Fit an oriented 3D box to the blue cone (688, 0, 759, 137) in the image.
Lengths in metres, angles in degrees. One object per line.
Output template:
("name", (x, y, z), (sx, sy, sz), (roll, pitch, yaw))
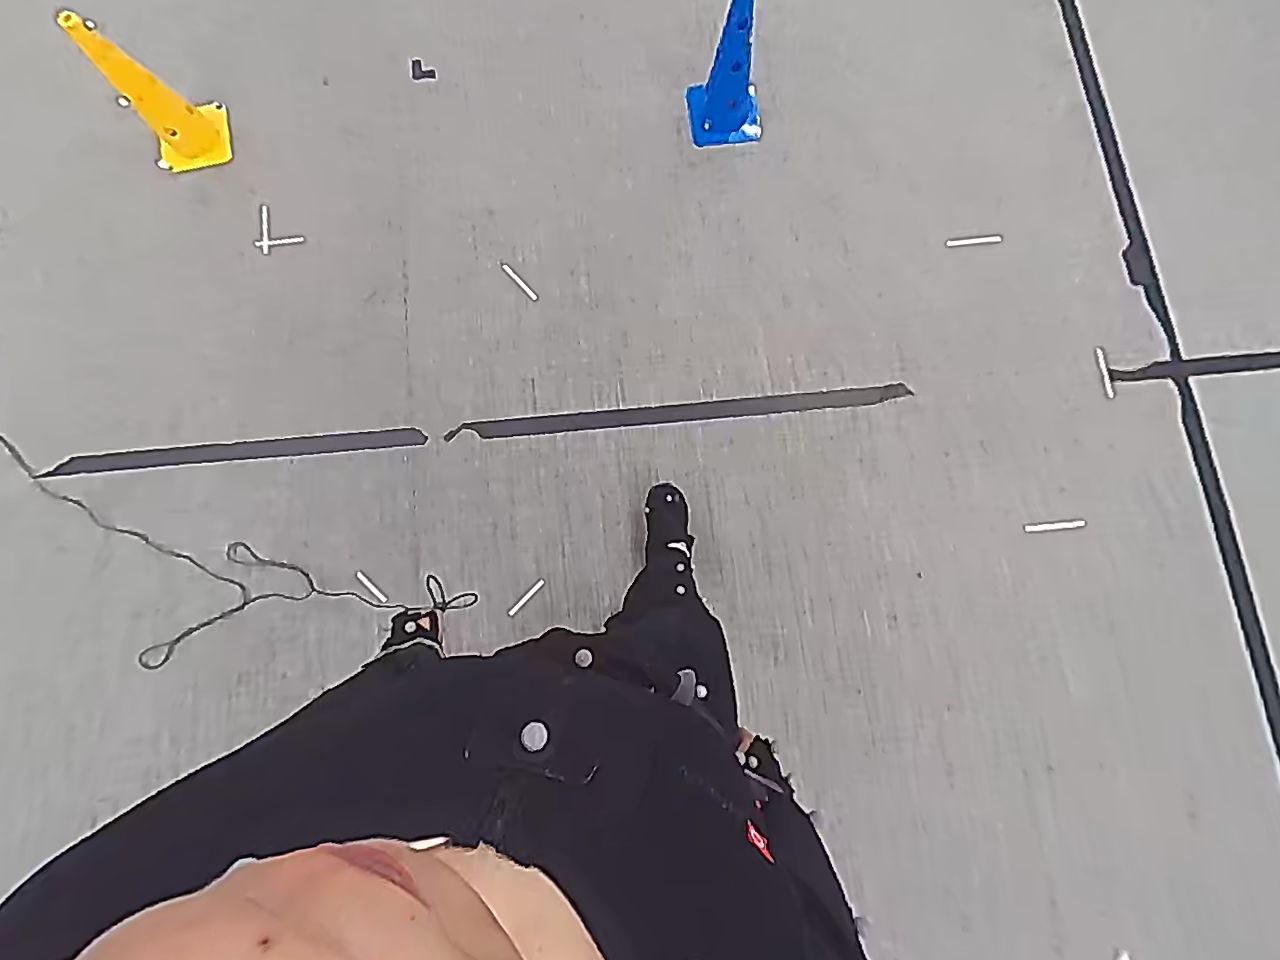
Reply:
("blue cone", (0.239, -1.099, 1.390), (0.193, 0.380, 0.192), (-5, 80, 0))
